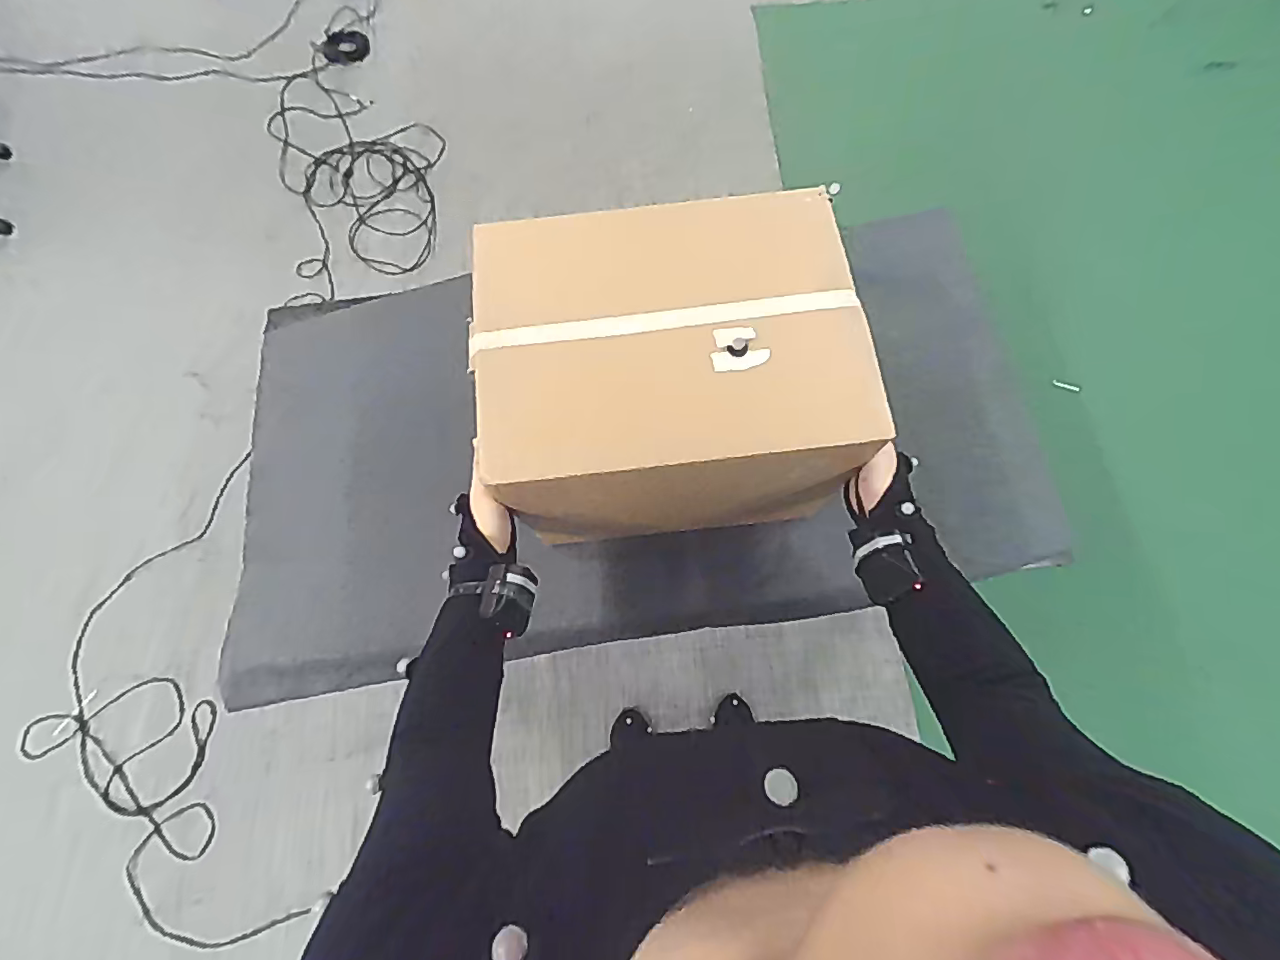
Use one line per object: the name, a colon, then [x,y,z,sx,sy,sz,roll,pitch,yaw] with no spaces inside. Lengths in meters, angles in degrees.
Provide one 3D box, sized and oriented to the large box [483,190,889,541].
large box: [0.036,-0.122,0.718,0.408,0.320,0.320,-7,72,-1]
